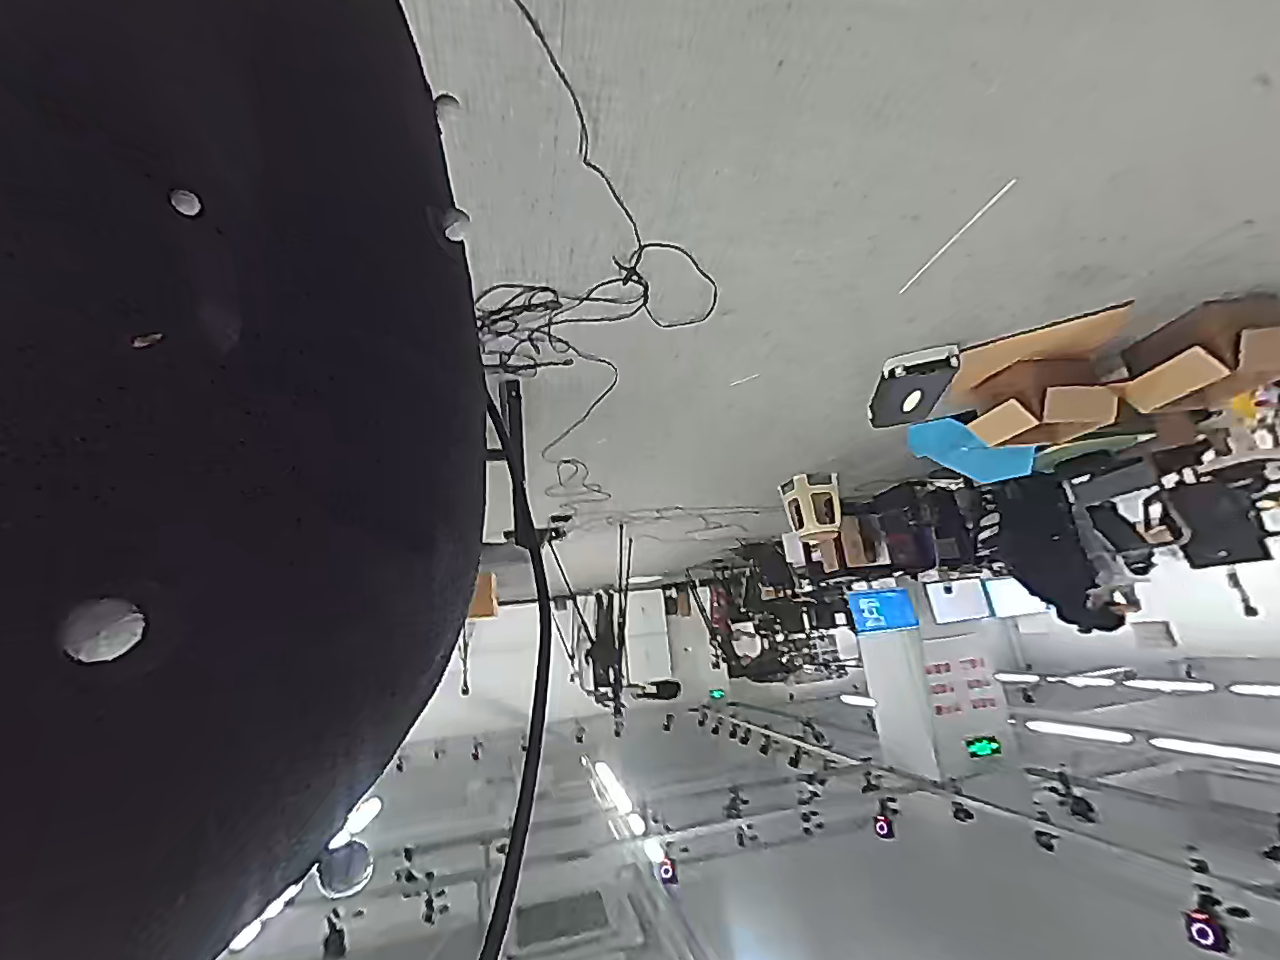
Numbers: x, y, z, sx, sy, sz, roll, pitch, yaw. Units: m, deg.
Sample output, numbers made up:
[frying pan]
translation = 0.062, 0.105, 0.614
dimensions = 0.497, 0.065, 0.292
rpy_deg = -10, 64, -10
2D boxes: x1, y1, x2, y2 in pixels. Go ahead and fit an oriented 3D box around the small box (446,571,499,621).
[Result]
[small box]
translation = -0.636, 0.442, 2.058
dimensions = 0.179, 0.176, 0.168
rpy_deg = -3, 164, -11
